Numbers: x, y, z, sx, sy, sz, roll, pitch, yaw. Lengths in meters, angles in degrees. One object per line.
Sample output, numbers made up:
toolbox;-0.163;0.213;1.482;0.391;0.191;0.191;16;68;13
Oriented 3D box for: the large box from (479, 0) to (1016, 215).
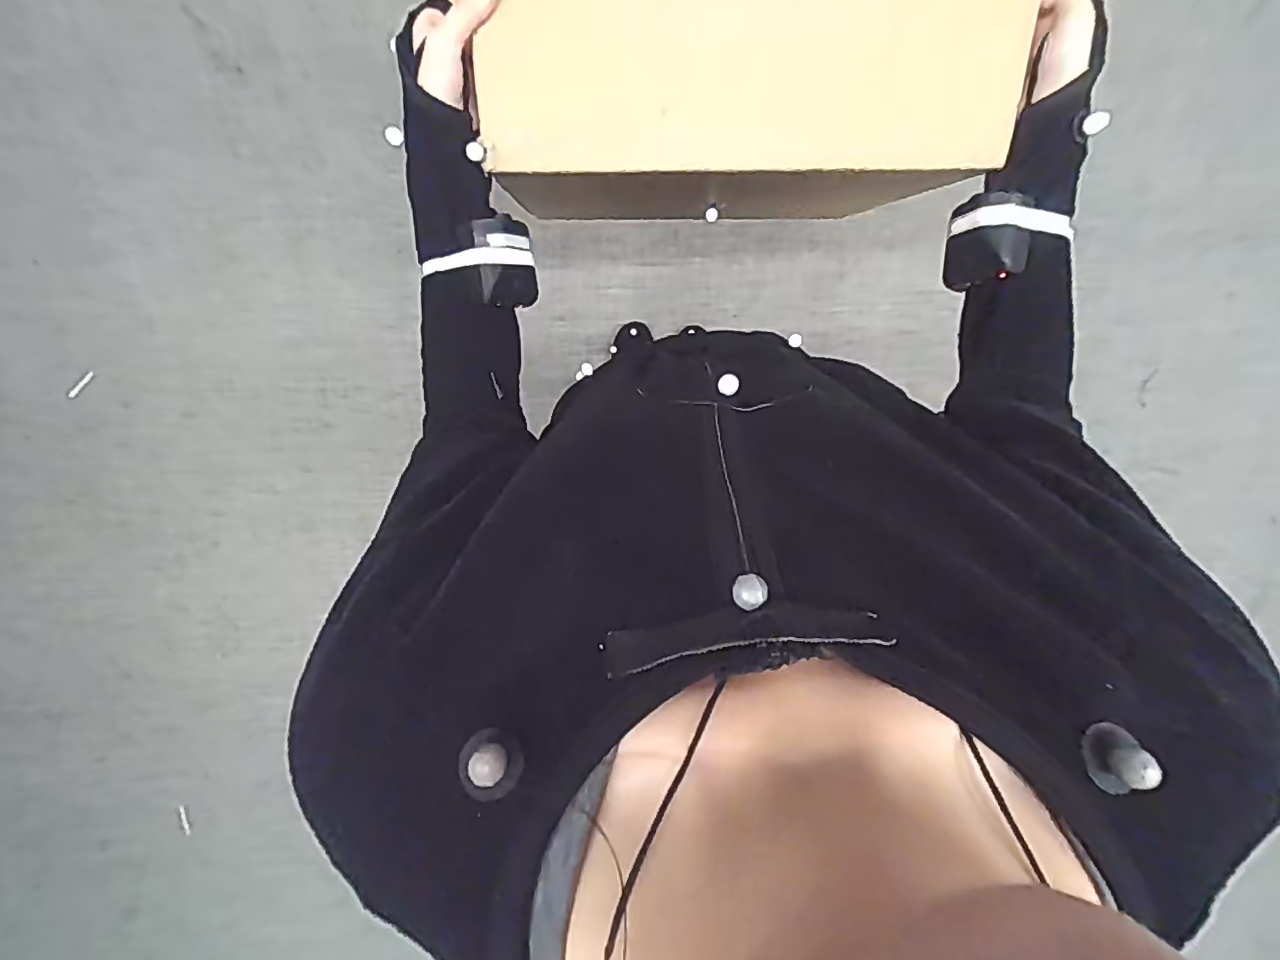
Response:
large box;0.077;-0.442;0.518;0.408;0.320;0.320;-2;109;-2
